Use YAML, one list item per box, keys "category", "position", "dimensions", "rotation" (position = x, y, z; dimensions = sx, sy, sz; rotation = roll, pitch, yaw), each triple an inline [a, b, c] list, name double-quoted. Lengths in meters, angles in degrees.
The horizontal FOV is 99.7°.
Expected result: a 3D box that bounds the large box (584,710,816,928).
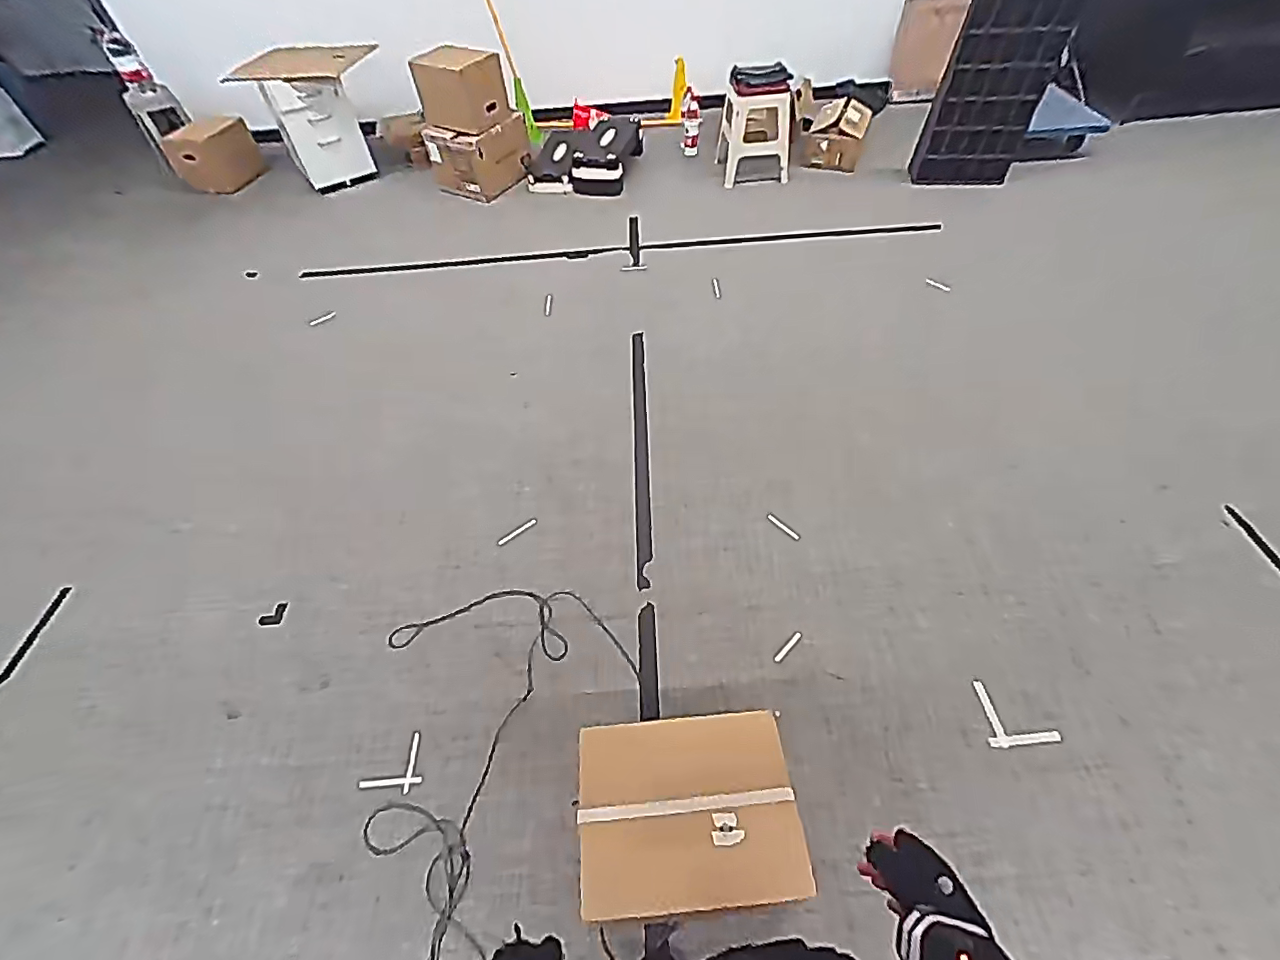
- category: "large box"
  position: [0.101, 0.714, 1.135]
  dimensions: [0.408, 0.320, 0.320]
  rotation: [-5, 49, -1]
